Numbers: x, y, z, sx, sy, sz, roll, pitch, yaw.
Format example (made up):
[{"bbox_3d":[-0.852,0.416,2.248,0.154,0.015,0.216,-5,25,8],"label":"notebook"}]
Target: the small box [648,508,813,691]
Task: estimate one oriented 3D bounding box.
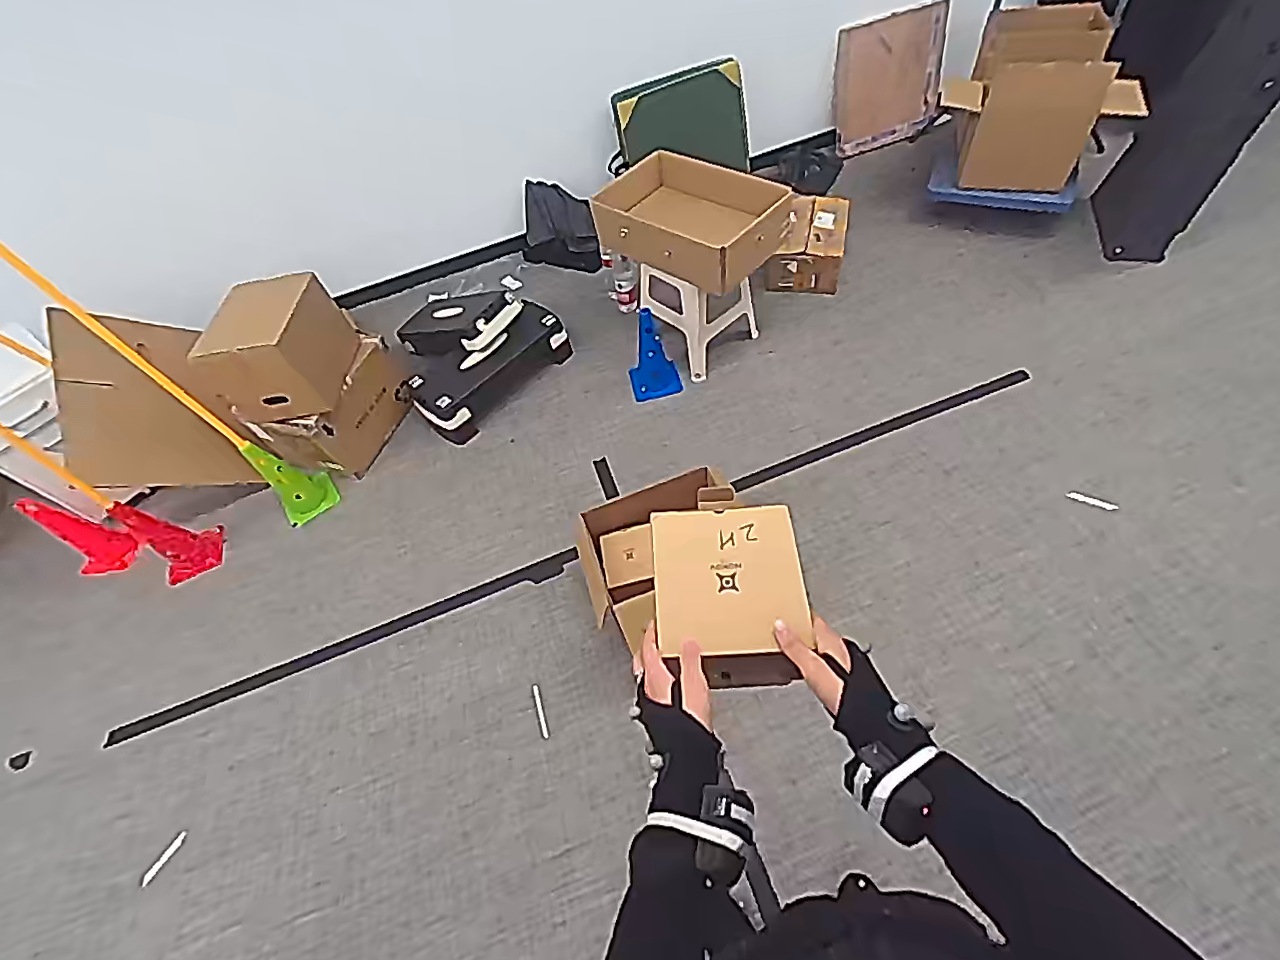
[{"bbox_3d":[0.099,0.153,0.659,0.168,0.176,0.179,-4,57,2],"label":"small box"}]
